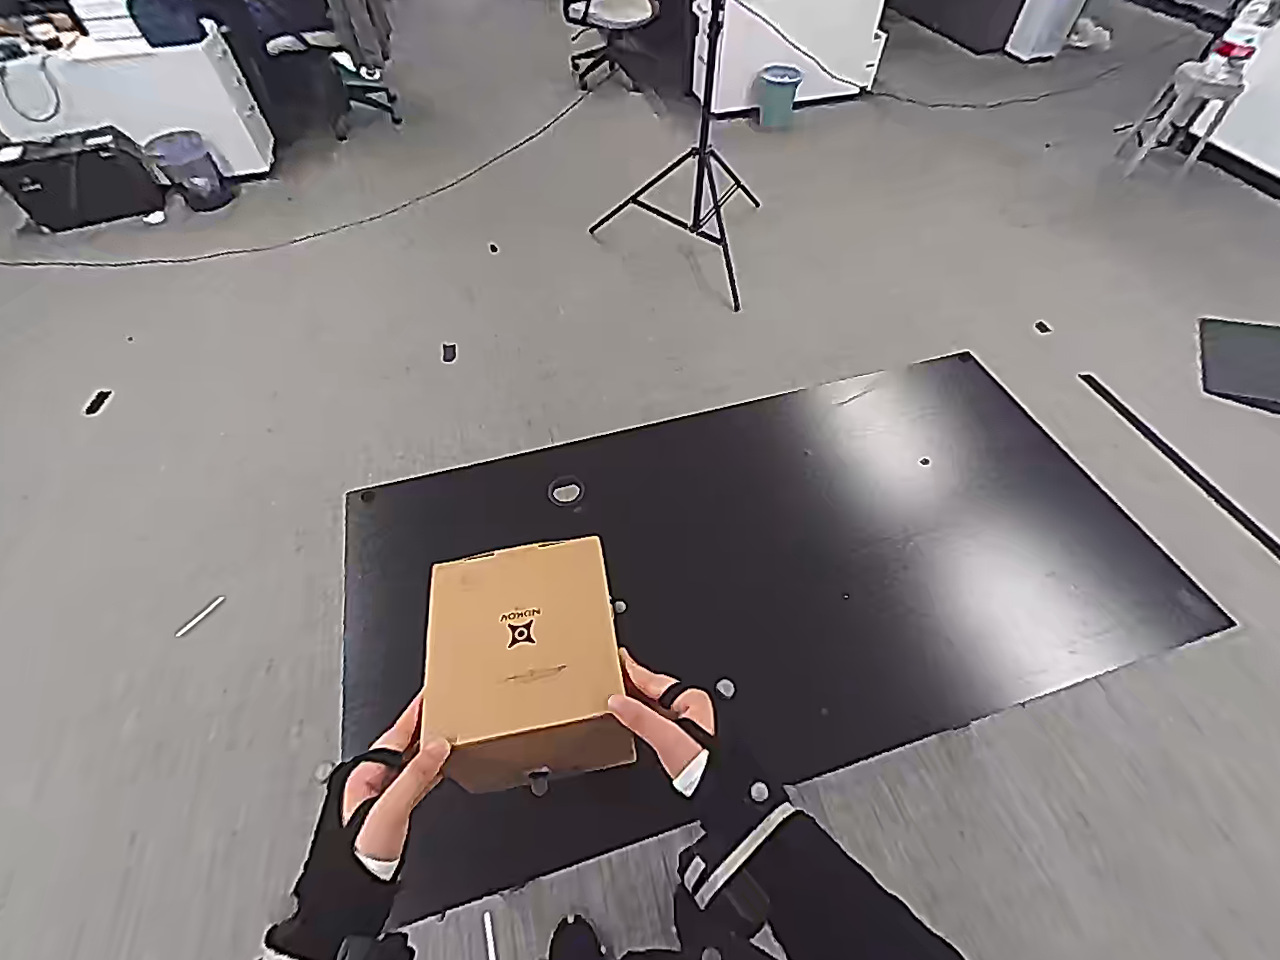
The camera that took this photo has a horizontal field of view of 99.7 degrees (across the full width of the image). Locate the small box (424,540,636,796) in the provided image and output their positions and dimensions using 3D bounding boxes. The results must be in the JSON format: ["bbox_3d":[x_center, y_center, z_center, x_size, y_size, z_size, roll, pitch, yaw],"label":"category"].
[{"bbox_3d":[-0.099,0.187,0.537,0.168,0.176,0.179,-10,51,-5],"label":"small box"}]
